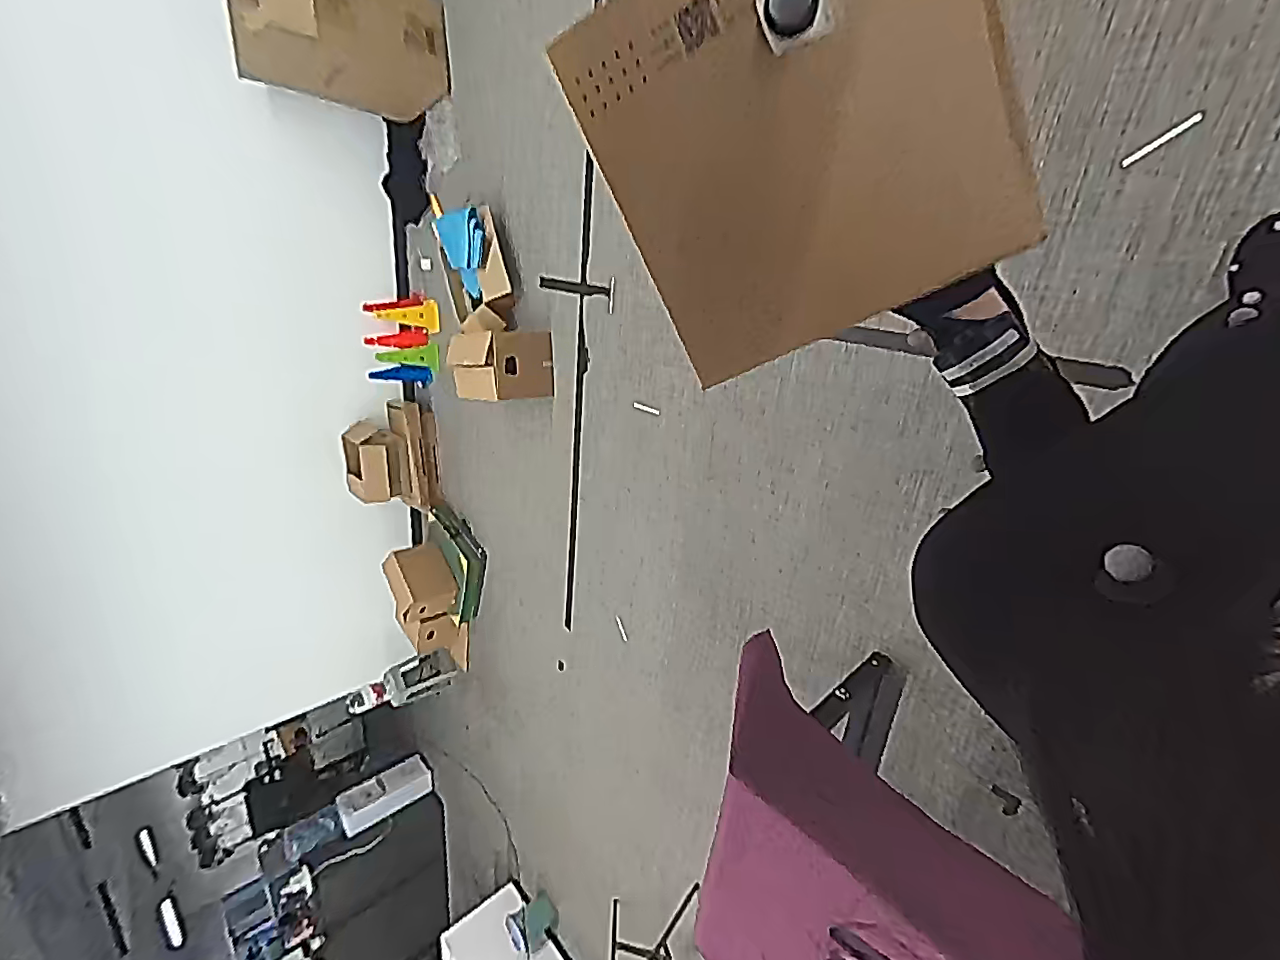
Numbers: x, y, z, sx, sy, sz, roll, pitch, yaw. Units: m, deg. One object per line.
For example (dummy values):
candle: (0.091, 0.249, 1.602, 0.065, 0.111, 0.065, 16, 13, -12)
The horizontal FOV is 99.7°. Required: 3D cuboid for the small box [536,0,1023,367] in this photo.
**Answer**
small box: (0.070, -0.193, 0.303, 0.168, 0.179, 0.176, -23, 111, 20)
